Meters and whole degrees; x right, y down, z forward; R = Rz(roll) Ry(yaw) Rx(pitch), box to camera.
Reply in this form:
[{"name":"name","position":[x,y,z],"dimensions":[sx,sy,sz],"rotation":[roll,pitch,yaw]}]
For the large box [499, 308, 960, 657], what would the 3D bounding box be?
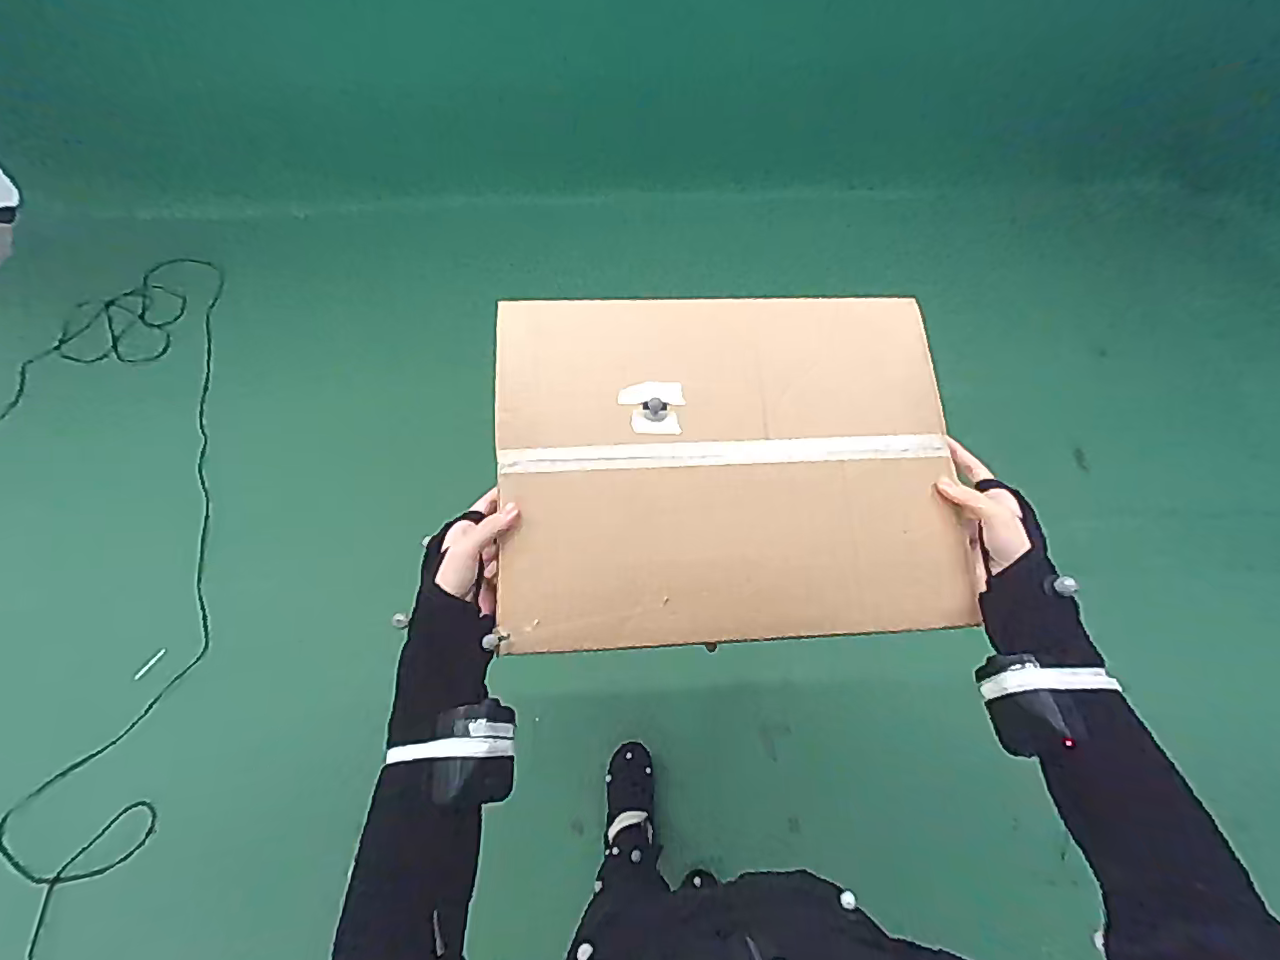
[{"name":"large box","position":[0.068,0.022,0.639],"dimensions":[0.408,0.320,0.320],"rotation":[-3,75,-4]}]
